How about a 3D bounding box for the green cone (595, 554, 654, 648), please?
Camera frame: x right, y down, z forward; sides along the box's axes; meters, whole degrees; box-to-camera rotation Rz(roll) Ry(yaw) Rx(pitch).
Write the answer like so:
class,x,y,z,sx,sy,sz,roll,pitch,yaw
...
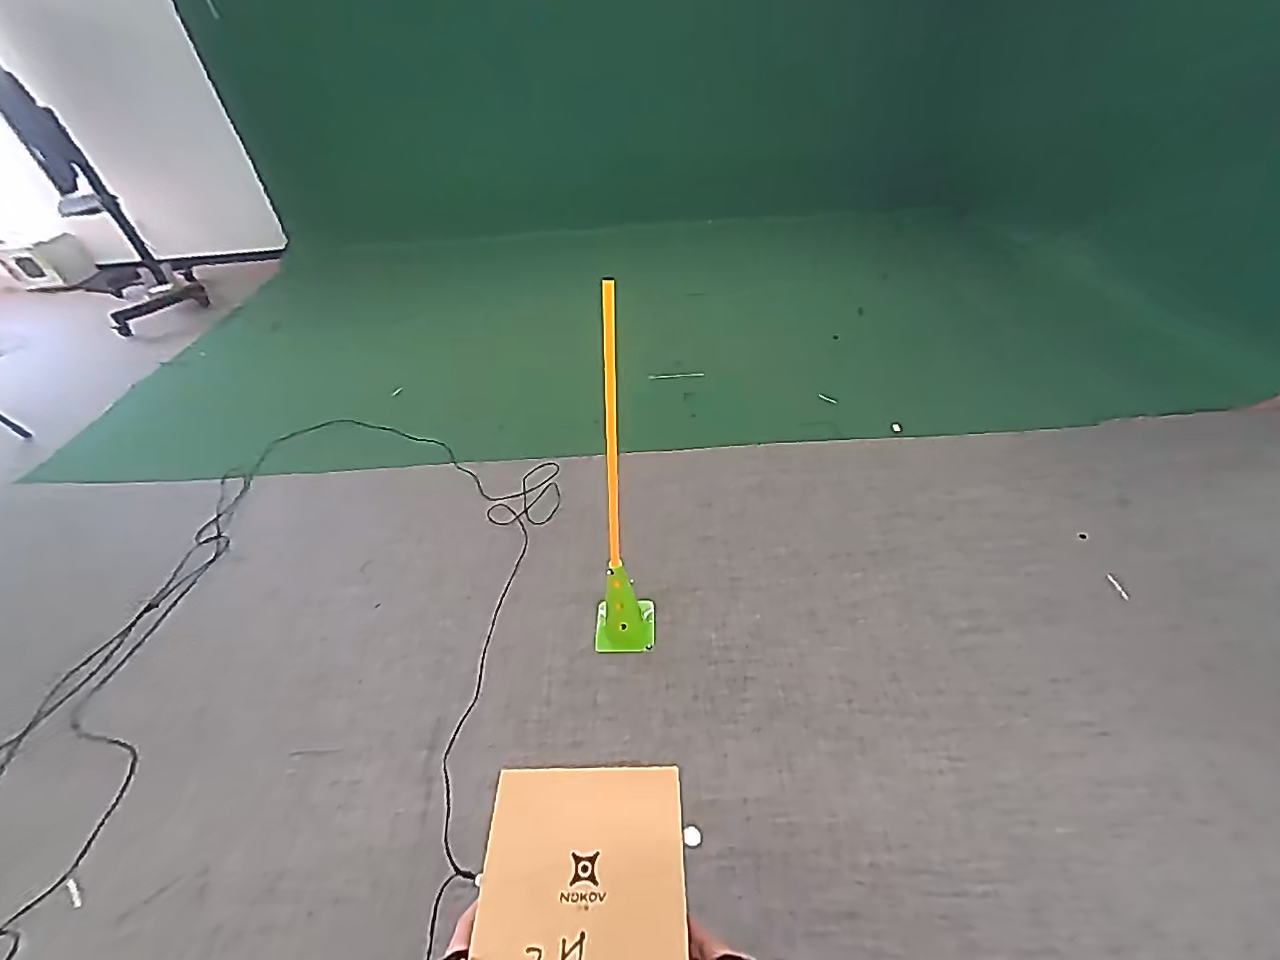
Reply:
class,x,y,z,sx,sy,sz,roll,pitch,yaw
green cone,-0.066,0.370,1.774,0.202,0.368,0.200,-3,42,4
